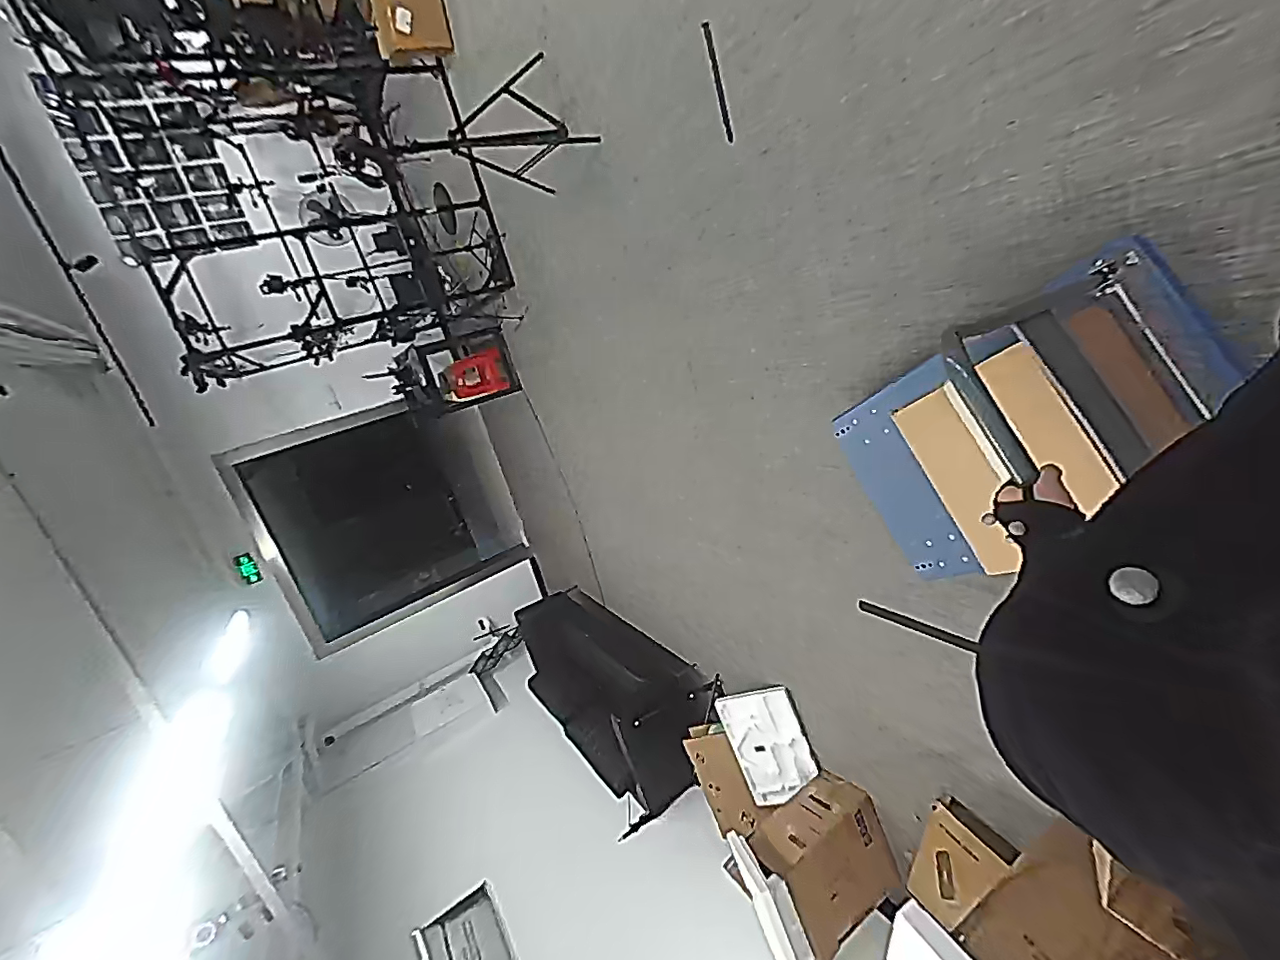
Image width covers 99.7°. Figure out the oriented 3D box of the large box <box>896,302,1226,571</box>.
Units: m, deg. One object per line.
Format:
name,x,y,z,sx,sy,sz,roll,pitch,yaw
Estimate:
large box,0.831,-0.080,1.100,0.408,0.320,0.320,63,153,8
